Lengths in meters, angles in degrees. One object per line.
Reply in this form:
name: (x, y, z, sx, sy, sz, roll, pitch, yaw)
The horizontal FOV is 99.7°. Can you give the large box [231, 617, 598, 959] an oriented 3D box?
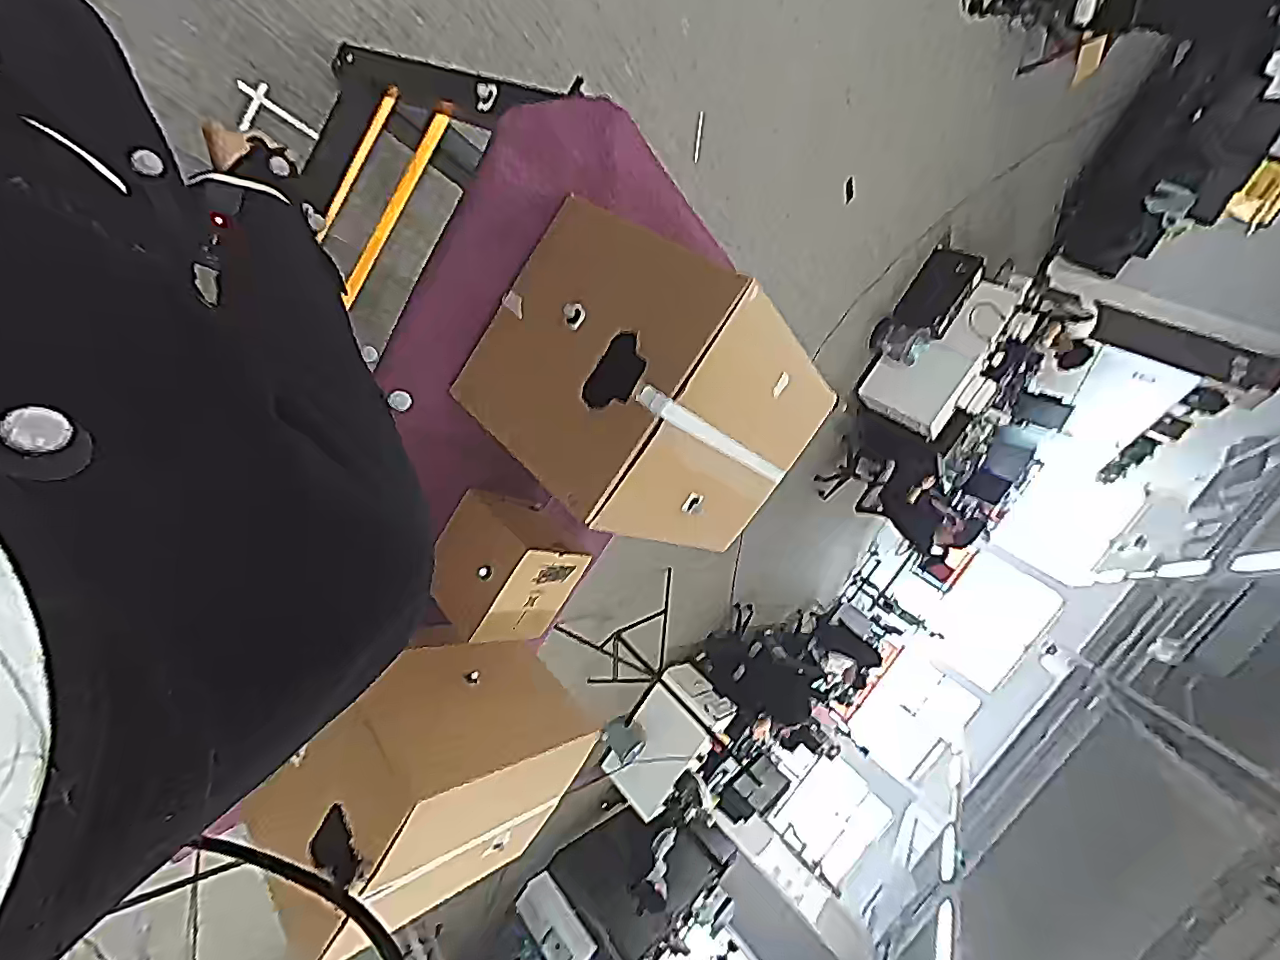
large box: (-0.355, 0.455, 0.899, 0.320, 0.320, 0.408, -57, 150, 8)
